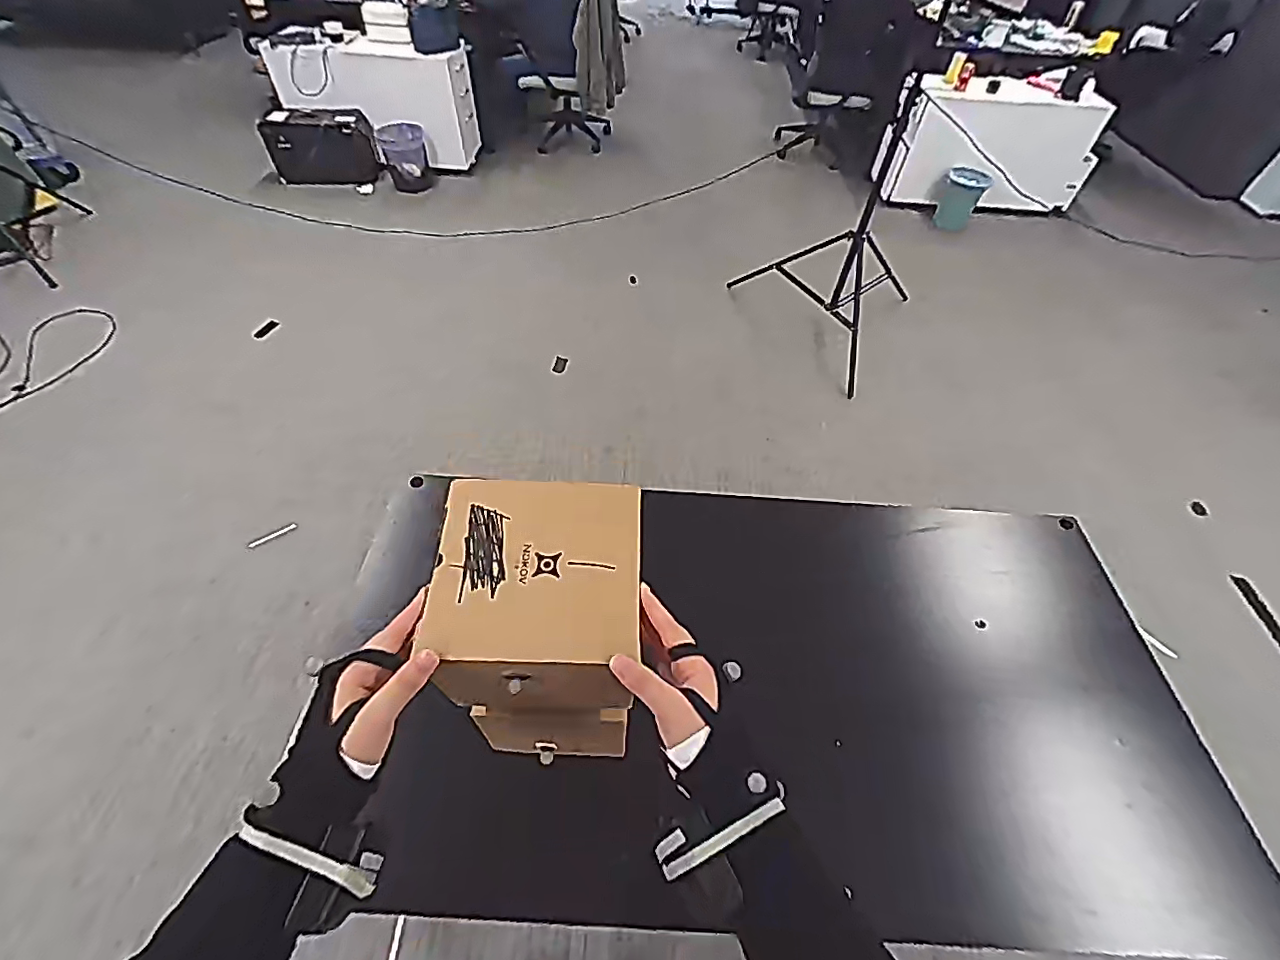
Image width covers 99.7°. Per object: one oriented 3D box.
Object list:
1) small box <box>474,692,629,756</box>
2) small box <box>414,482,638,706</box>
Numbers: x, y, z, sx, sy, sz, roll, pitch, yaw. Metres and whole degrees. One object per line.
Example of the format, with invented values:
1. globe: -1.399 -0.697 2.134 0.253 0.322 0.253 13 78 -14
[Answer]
1. small box: -0.095 0.232 0.683 0.168 0.176 0.179 1 51 -1
2. small box: -0.092 0.117 0.528 0.179 0.176 0.168 2 56 -3
